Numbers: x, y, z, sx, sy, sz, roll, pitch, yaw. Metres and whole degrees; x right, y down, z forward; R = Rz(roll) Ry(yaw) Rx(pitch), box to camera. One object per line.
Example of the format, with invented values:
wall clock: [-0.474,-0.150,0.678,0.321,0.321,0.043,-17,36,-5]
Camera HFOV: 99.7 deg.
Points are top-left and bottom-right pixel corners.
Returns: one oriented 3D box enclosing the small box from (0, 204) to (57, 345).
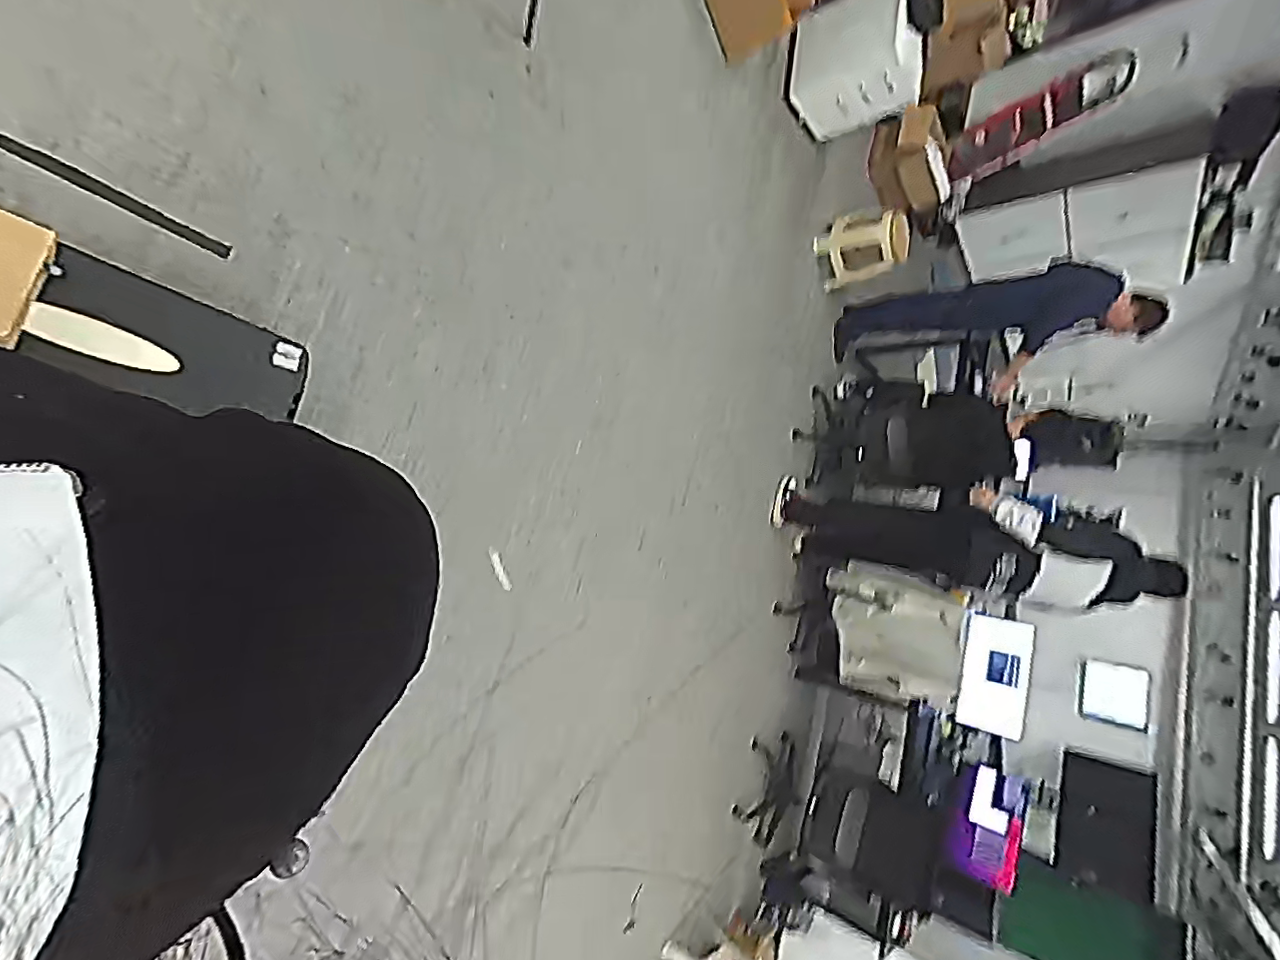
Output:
small box: [-0.979,-0.309,0.764,0.168,0.176,0.179,24,75,-46]
